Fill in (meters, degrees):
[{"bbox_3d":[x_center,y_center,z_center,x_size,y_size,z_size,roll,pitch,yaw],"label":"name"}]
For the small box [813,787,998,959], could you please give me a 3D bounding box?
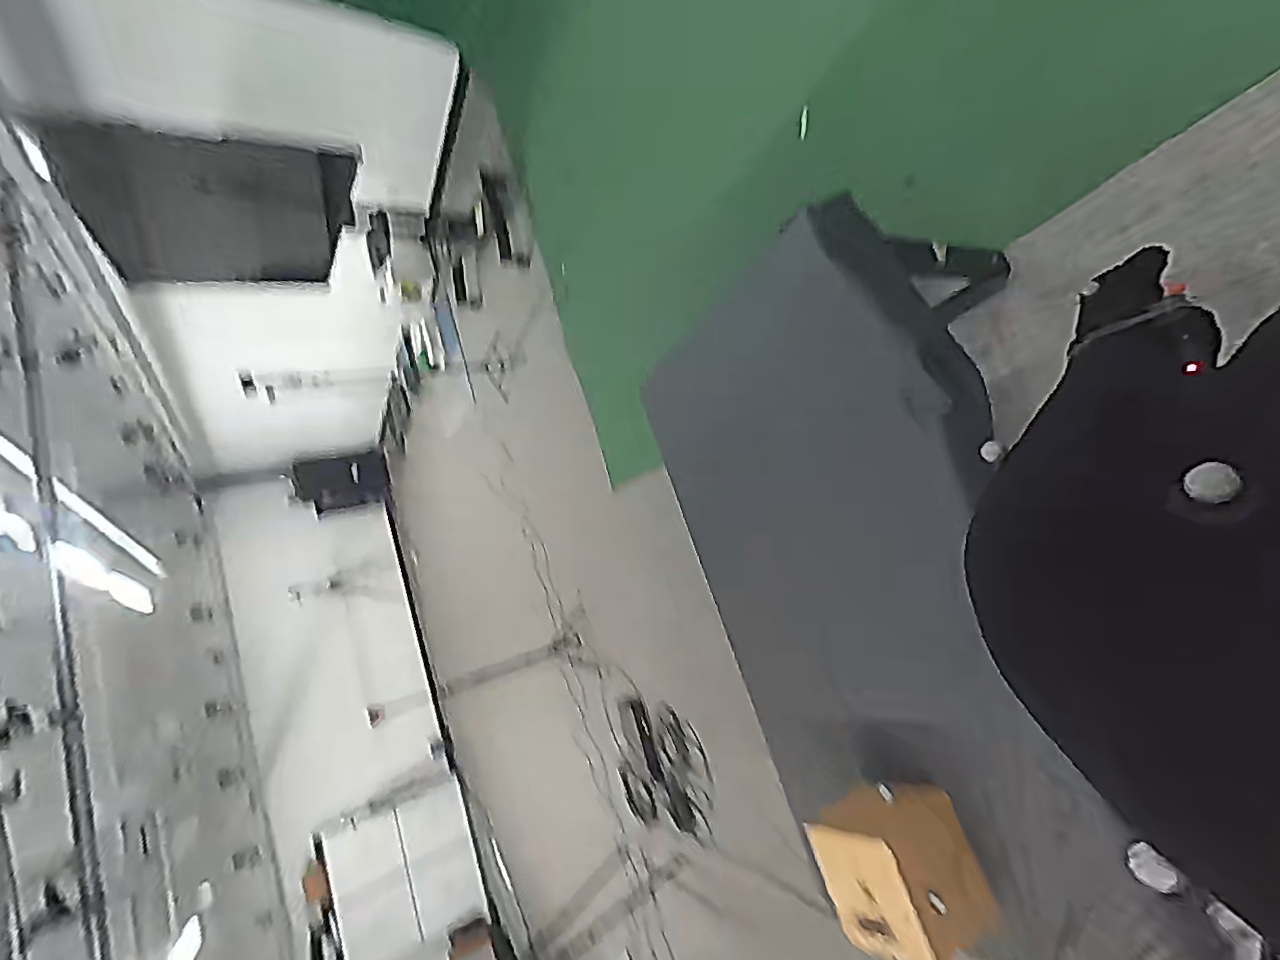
[{"bbox_3d":[0.417,0.620,0.854,0.168,0.176,0.179,-40,65,53],"label":"small box"}]
